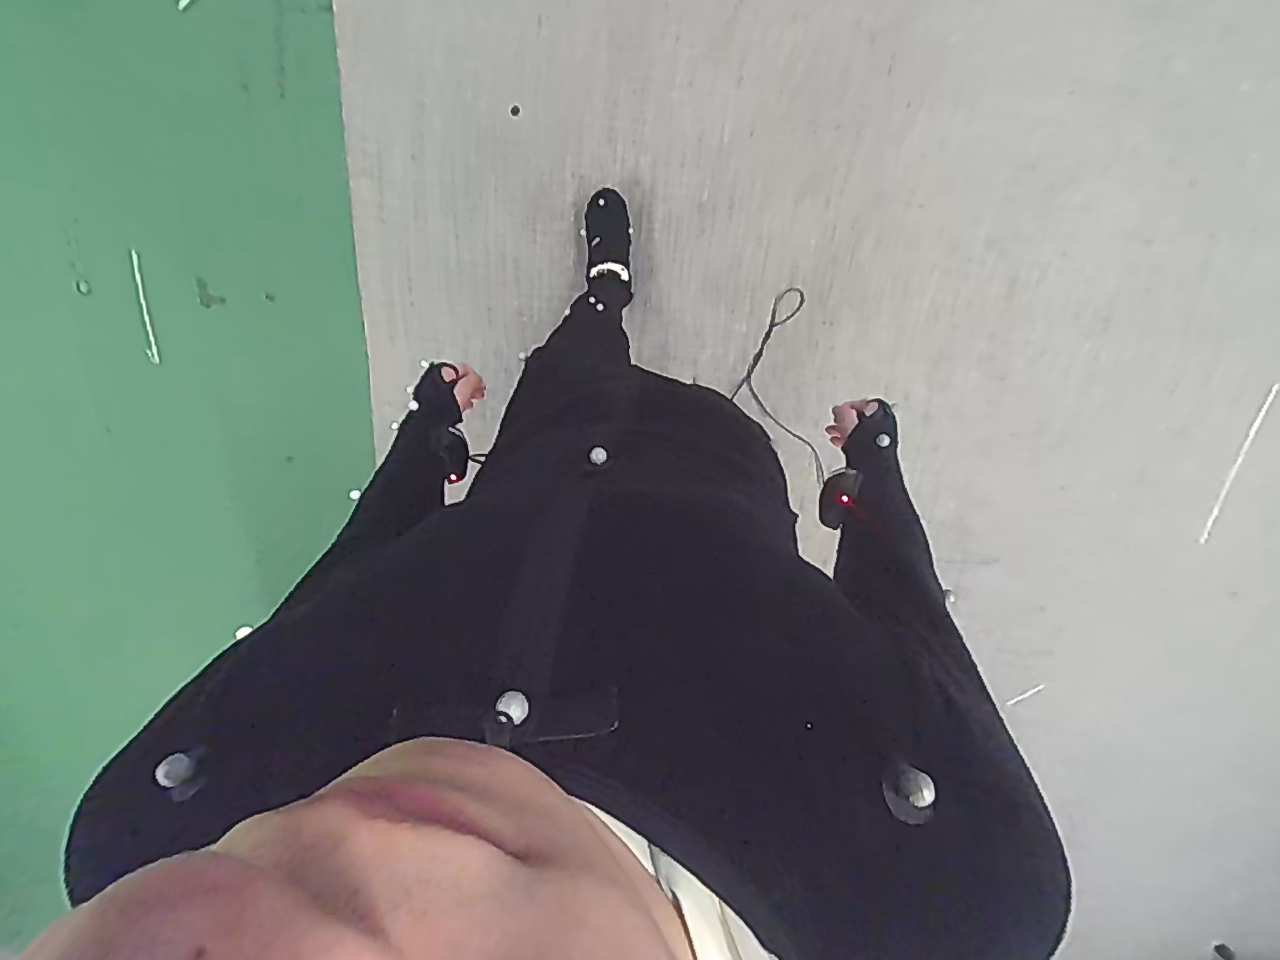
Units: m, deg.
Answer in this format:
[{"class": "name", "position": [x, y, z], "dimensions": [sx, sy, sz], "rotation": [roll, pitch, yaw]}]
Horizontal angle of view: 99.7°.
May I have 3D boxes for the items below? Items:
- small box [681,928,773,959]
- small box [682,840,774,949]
[{"class": "small box", "position": [0.154, 0.926, 0.935], "dimensions": [0.168, 0.176, 0.179], "rotation": [-1, 109, 5]}, {"class": "small box", "position": [0.169, 0.869, 1.087], "dimensions": [0.168, 0.176, 0.179], "rotation": [1, 109, 4]}]
